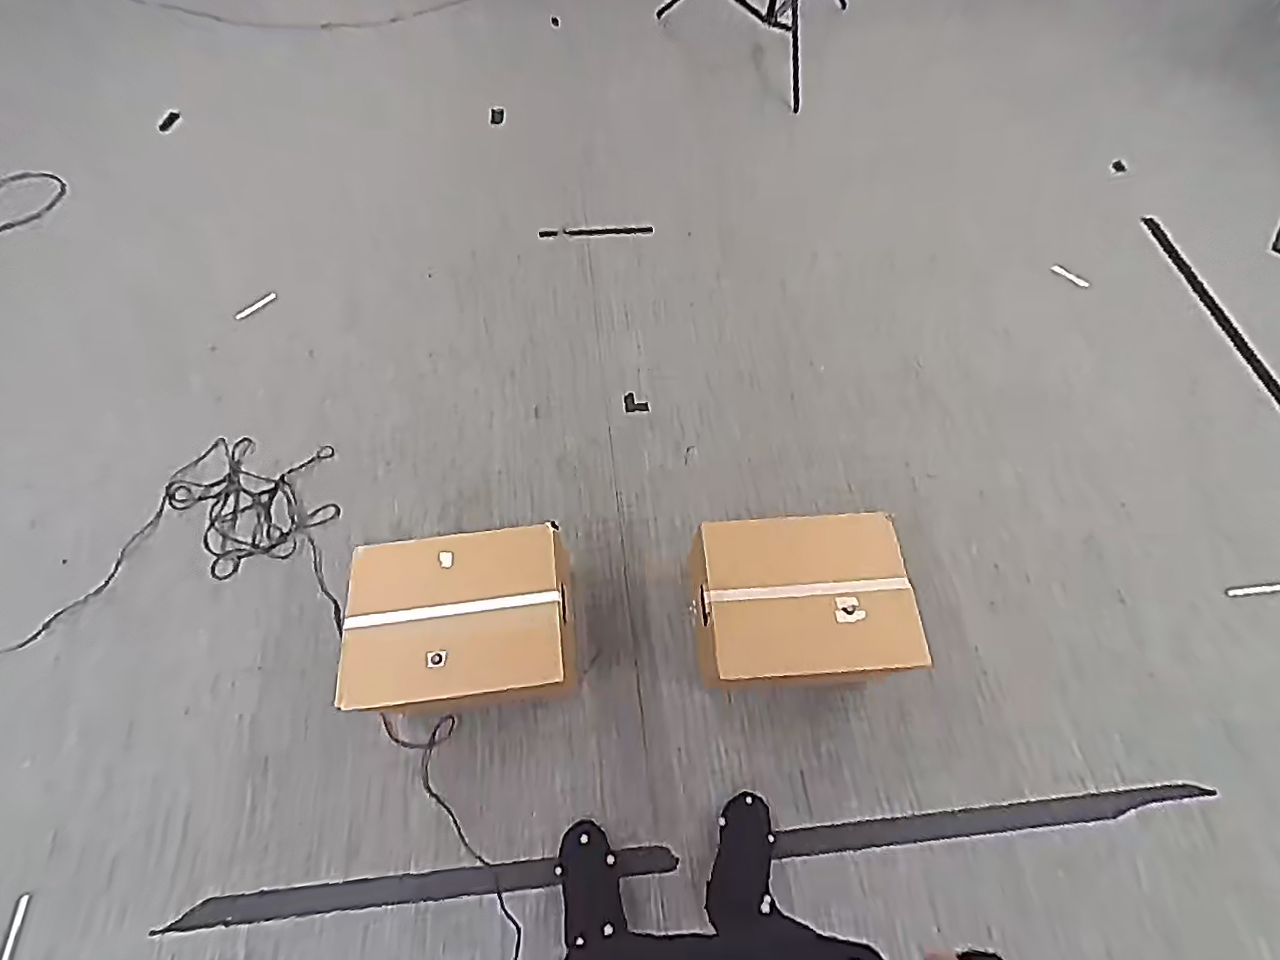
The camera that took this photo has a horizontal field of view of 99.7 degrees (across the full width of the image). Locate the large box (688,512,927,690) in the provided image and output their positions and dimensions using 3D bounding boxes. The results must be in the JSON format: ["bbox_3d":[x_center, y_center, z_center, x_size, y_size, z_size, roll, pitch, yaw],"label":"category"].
[{"bbox_3d":[0.335,0.282,1.213,0.408,0.320,0.320,-3,65,-3],"label":"large box"}]
